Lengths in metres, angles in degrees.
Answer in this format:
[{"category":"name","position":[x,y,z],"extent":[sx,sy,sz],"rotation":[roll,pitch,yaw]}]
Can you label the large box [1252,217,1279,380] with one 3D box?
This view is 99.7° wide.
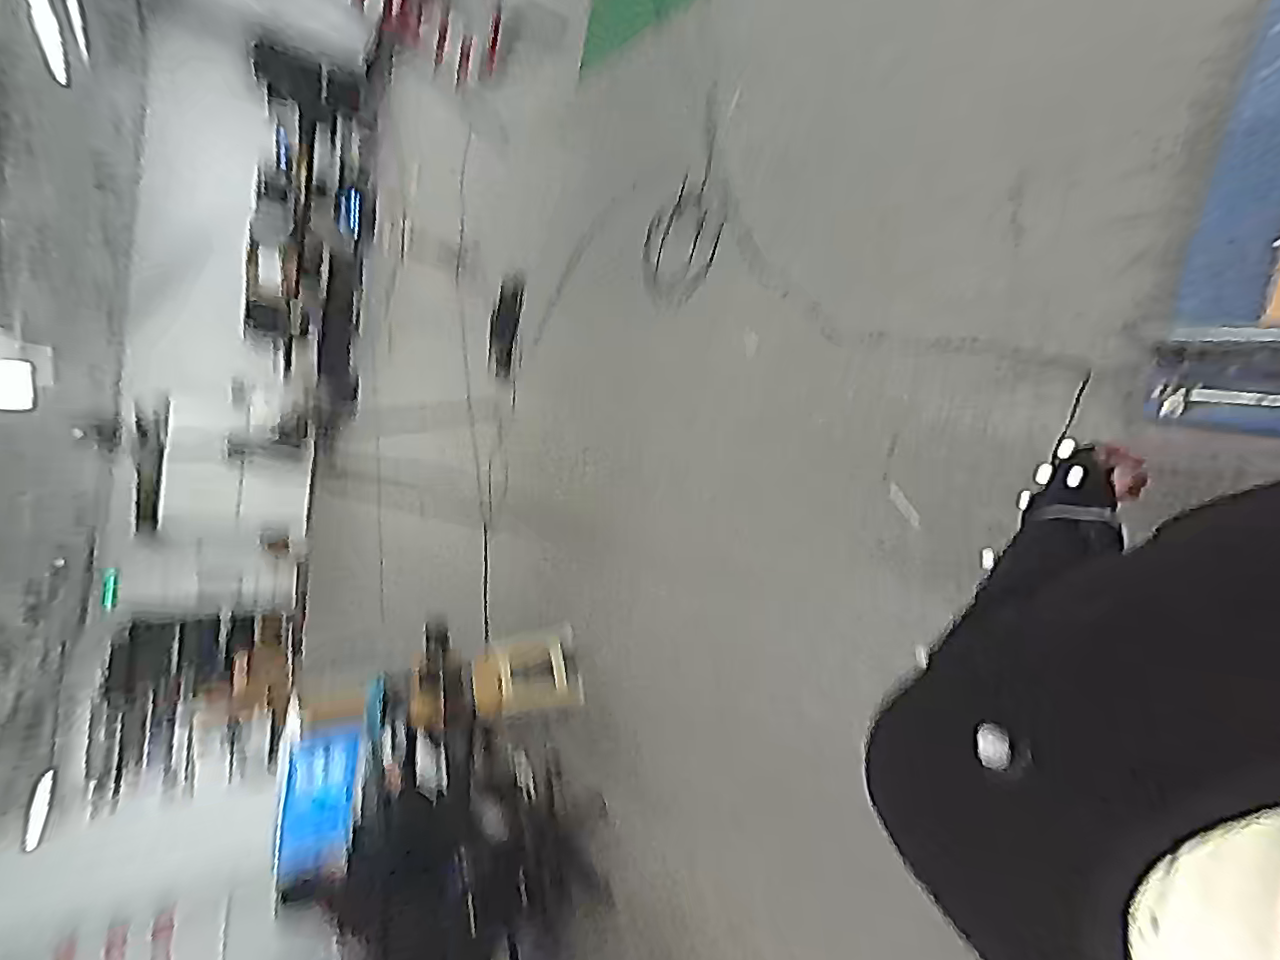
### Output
[{"category":"large box","position":[1.180,-0.371,0.796],"extent":[0.320,0.320,0.408],"rotation":[16,97,48]}]
